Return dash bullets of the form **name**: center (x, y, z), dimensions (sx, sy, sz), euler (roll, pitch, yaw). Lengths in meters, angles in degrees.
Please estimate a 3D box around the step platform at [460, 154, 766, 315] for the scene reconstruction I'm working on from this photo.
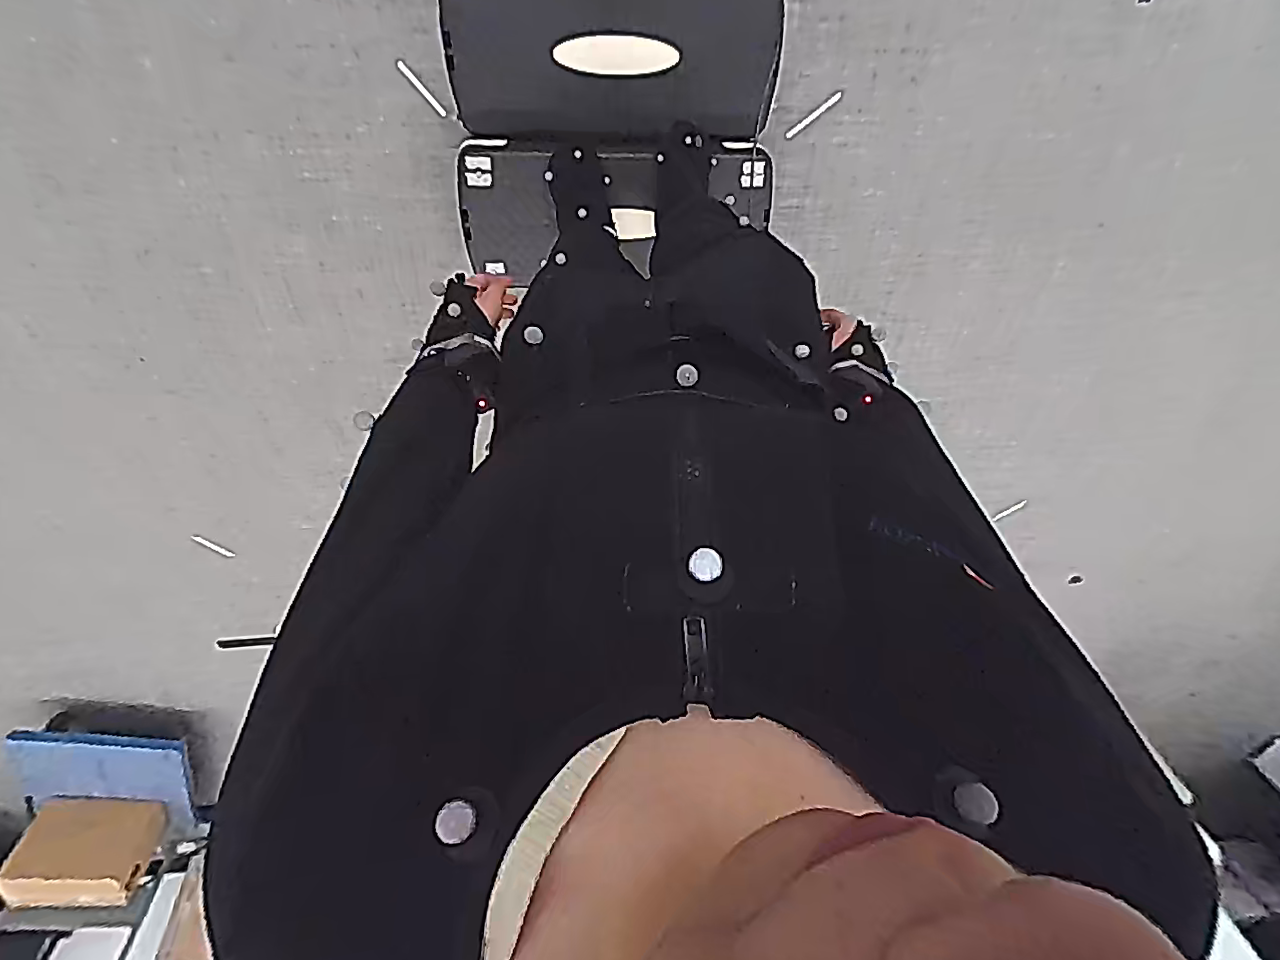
- **step platform**: center (-0.059, -0.561, 1.256), dimensions (0.684, 0.204, 0.286), euler (1, 125, -7)
